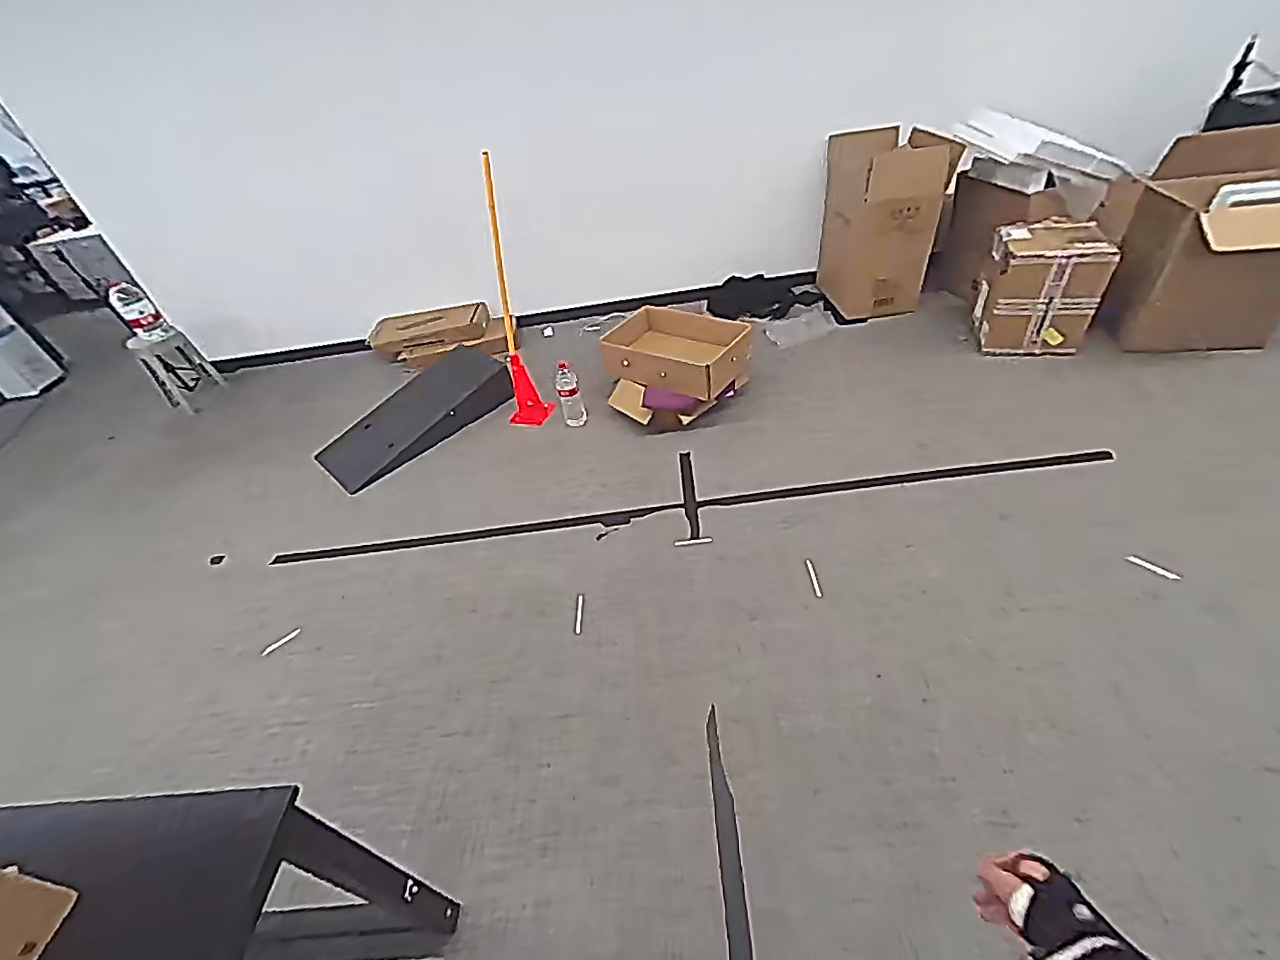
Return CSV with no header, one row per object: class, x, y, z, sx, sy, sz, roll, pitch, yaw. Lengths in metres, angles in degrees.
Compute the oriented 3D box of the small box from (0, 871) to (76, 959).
small box,-0.858,0.562,0.634,0.179,0.176,0.168,-4,42,9
